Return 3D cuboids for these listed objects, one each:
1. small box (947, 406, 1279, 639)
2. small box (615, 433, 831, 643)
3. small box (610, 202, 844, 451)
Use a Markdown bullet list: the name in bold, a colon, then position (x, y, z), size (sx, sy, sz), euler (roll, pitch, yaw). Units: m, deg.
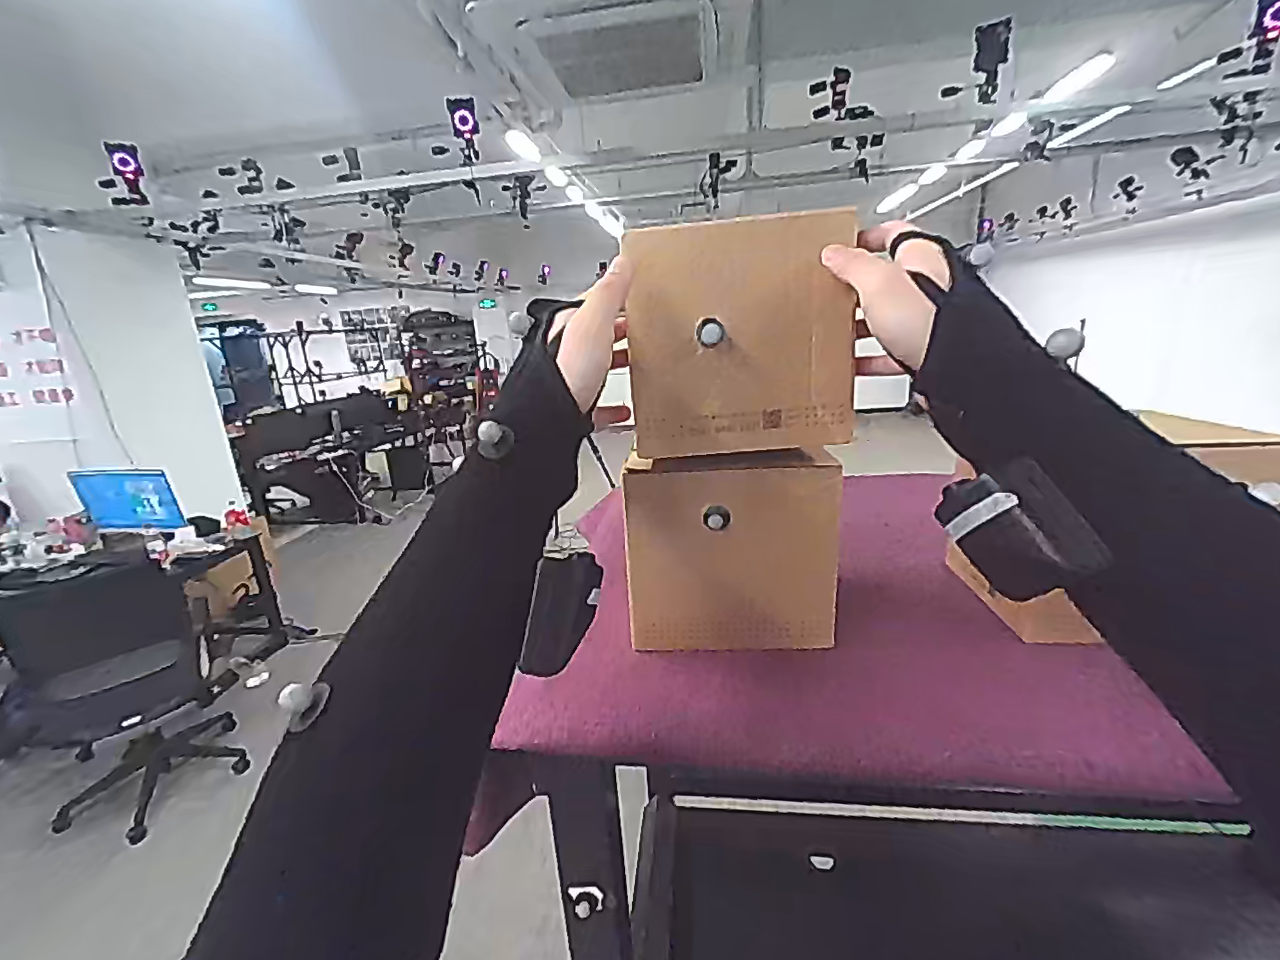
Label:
- **small box**: position (0.406, 0.031, 0.492), size (0.179, 0.176, 0.168), euler (-2, 15, 9)
- **small box**: position (0.076, 0.044, 0.526), size (0.179, 0.176, 0.168), euler (-2, 16, 5)
- **small box**: position (0.073, -0.122, 0.475), size (0.168, 0.176, 0.179), euler (-5, 13, 4)
